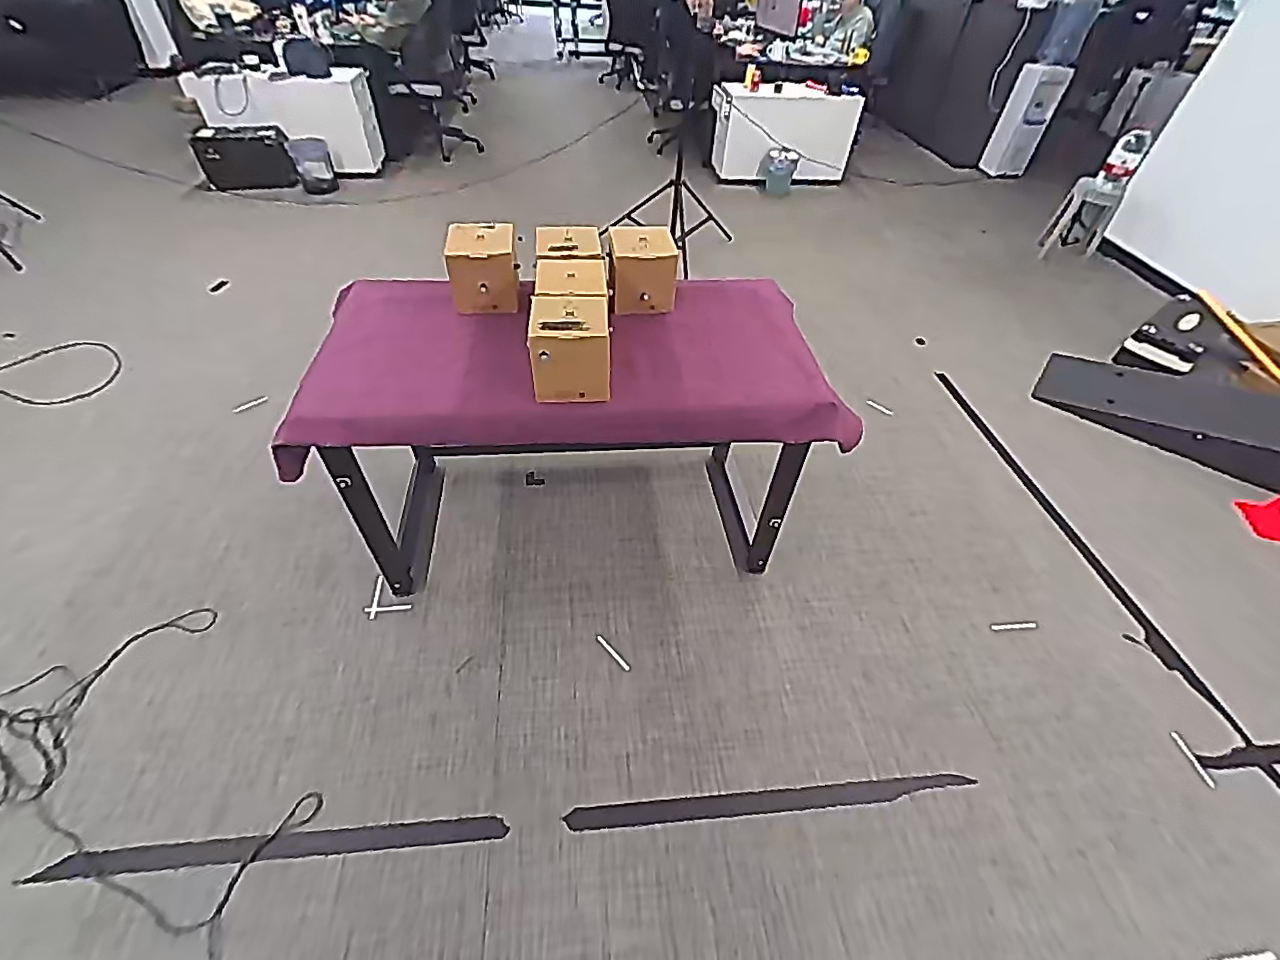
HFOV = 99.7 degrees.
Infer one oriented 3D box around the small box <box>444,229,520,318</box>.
[{"bbox_3d":[-0.415,-0.551,1.450,0.168,0.176,0.179,-3,49,-7],"label":"small box"}]
